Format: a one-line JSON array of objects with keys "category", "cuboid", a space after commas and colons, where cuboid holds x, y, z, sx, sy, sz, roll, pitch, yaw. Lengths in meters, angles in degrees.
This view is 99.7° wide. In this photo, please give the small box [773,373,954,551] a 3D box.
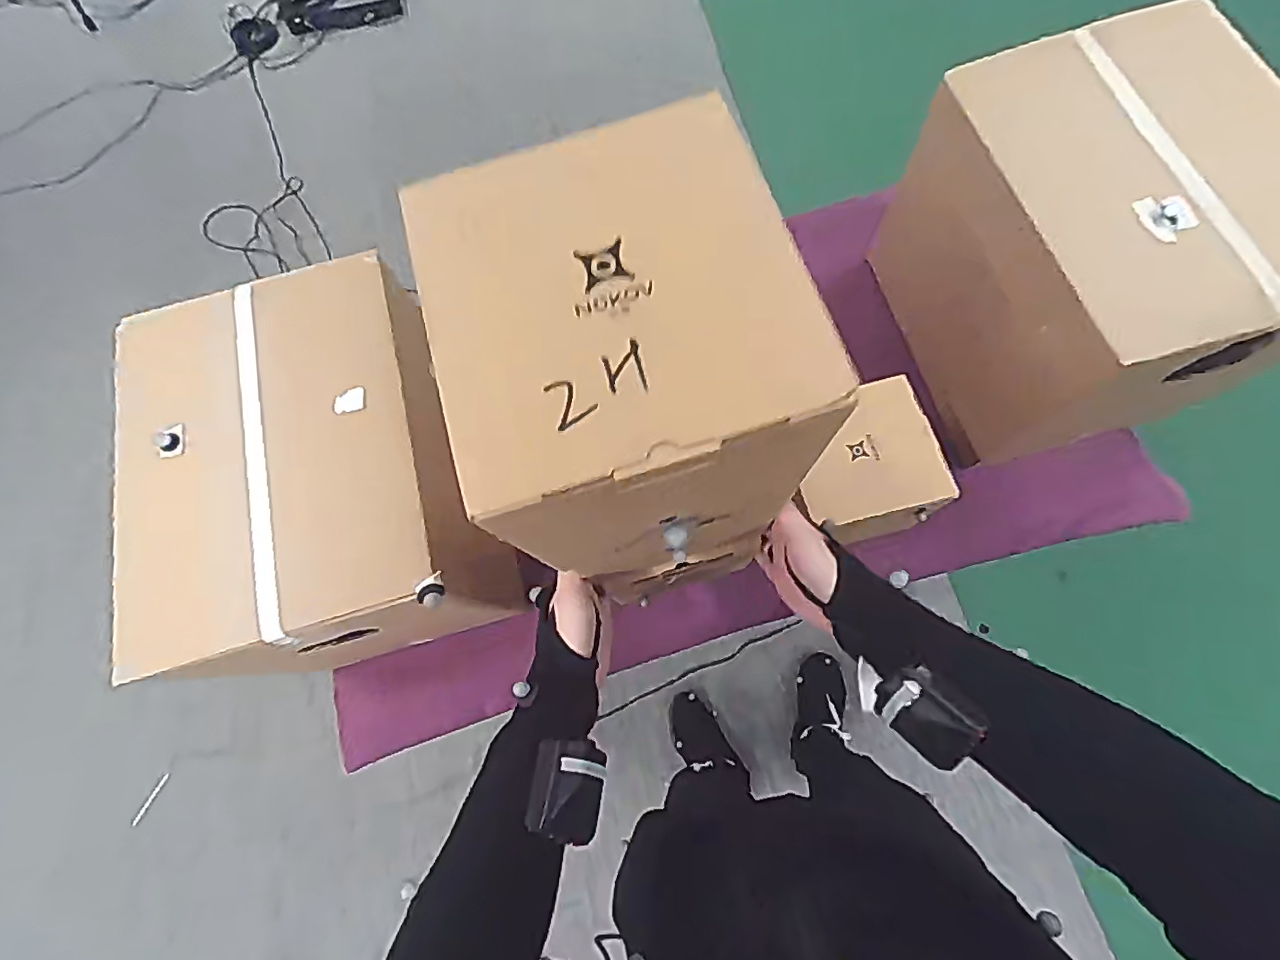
[{"category": "small box", "cuboid": [0.269, -0.013, 0.723, 0.179, 0.176, 0.168, -14, 71, 1]}]

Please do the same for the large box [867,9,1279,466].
[{"category": "large box", "cuboid": [0.558, -0.280, 0.706, 0.320, 0.320, 0.408, -15, 73, 2]}]

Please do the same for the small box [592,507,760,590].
[{"category": "small box", "cuboid": [0.025, 0.022, 0.620, 0.168, 0.176, 0.179, -16, 73, -1]}]

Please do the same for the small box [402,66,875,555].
[{"category": "small box", "cuboid": [-0.005, -0.071, 0.305, 0.168, 0.176, 0.179, -17, 74, 0]}]
